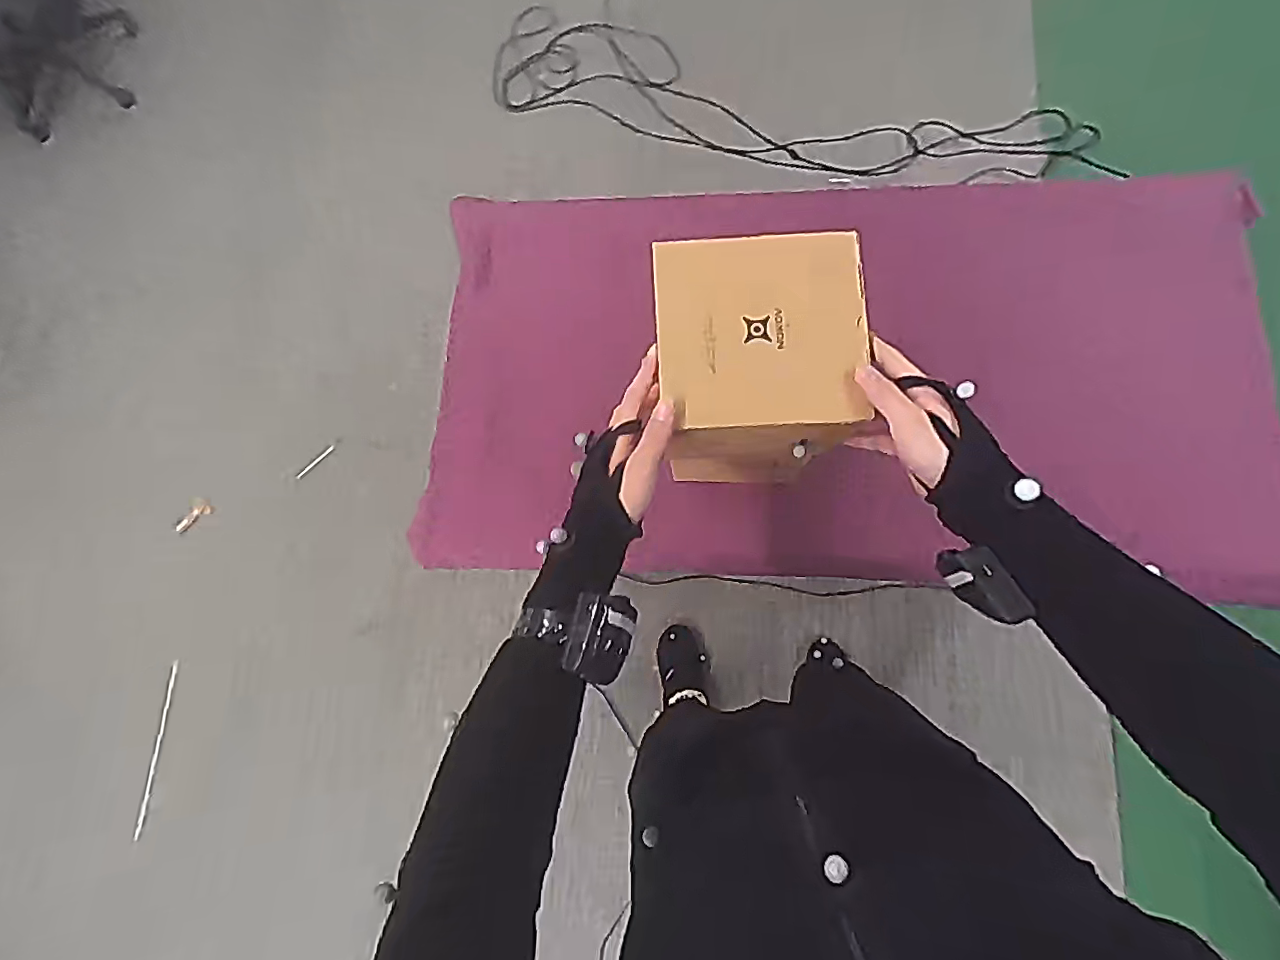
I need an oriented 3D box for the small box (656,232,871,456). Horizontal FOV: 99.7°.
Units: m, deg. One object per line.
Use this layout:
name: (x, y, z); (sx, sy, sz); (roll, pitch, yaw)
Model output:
small box: (0.105, -0.119, 0.529); (0.179, 0.176, 0.168); (-1, 83, 3)
